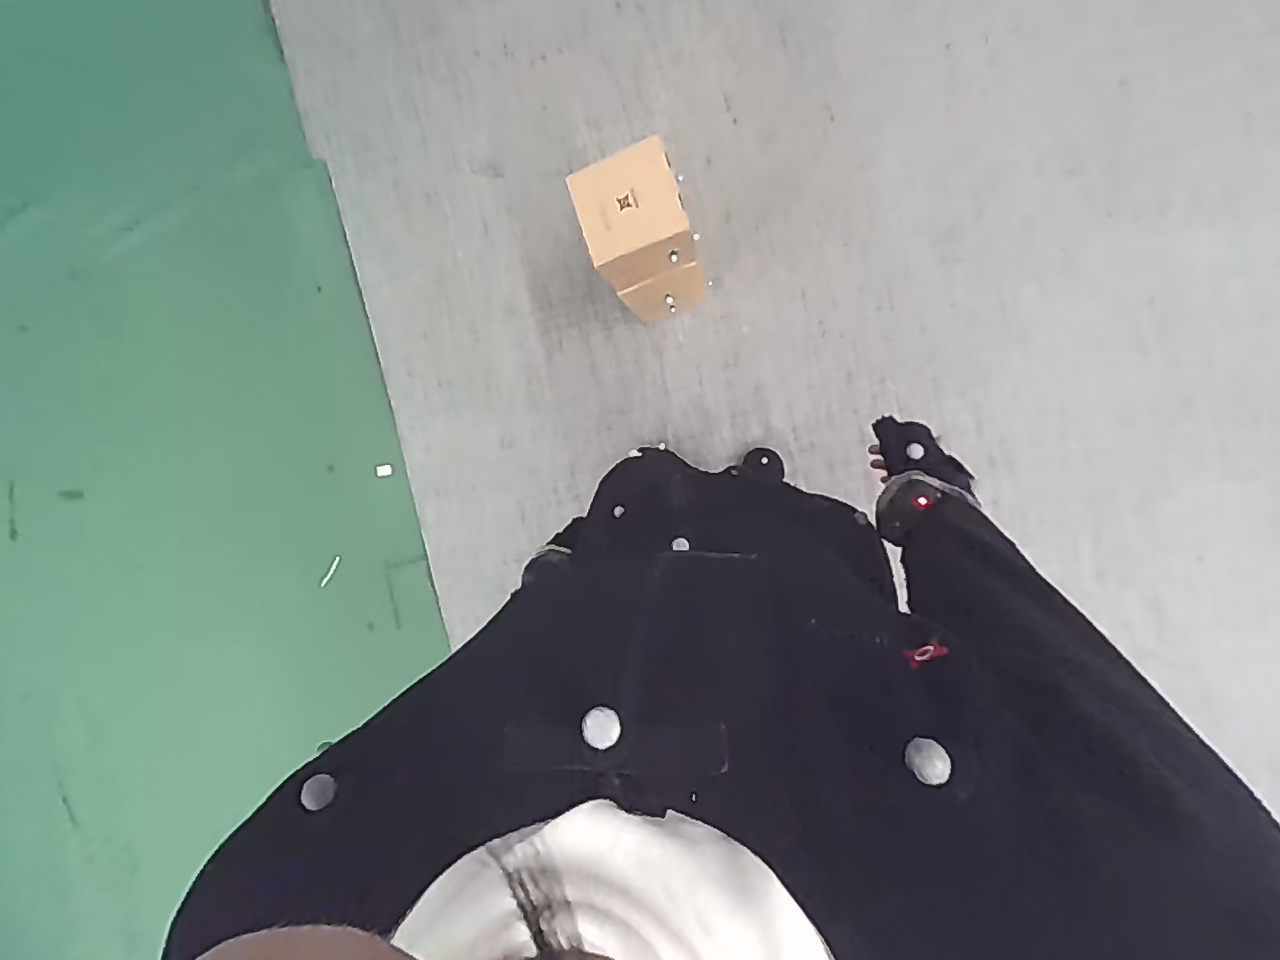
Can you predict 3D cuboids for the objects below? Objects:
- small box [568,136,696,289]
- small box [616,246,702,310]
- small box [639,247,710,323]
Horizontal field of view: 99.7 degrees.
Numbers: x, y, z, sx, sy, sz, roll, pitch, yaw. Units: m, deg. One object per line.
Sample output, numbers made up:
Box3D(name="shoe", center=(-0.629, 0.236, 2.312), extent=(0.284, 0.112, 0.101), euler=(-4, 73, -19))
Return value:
Box3D(name="small box", center=(-0.004, -0.475, 0.990), extent=(0.179, 0.176, 0.168), euler=(-19, 90, 14))
Box3D(name="small box", center=(0.028, -0.483, 1.150), extent=(0.179, 0.176, 0.168), euler=(-18, 91, 13))
Box3D(name="small box", center=(0.062, -0.501, 1.308), extent=(0.179, 0.176, 0.168), euler=(-23, 90, 12))
